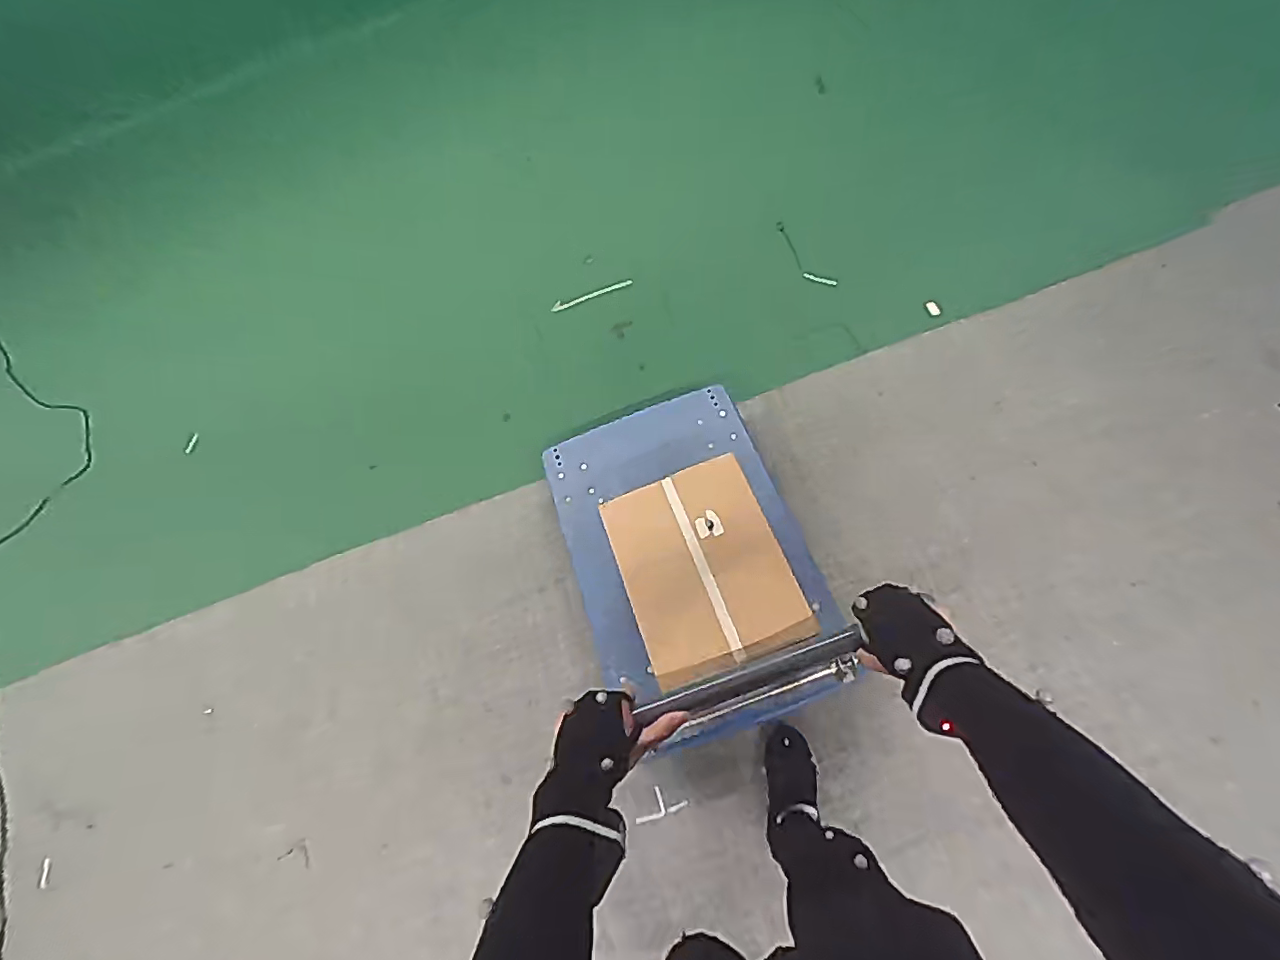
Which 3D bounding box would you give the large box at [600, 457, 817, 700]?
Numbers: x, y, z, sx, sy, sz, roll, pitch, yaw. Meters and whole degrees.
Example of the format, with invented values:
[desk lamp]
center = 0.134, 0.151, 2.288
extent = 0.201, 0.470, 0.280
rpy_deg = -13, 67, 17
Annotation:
[large box]
center = 0.148, 0.231, 1.205
extent = 0.320, 0.320, 0.408
rpy_deg = -21, 63, 0
